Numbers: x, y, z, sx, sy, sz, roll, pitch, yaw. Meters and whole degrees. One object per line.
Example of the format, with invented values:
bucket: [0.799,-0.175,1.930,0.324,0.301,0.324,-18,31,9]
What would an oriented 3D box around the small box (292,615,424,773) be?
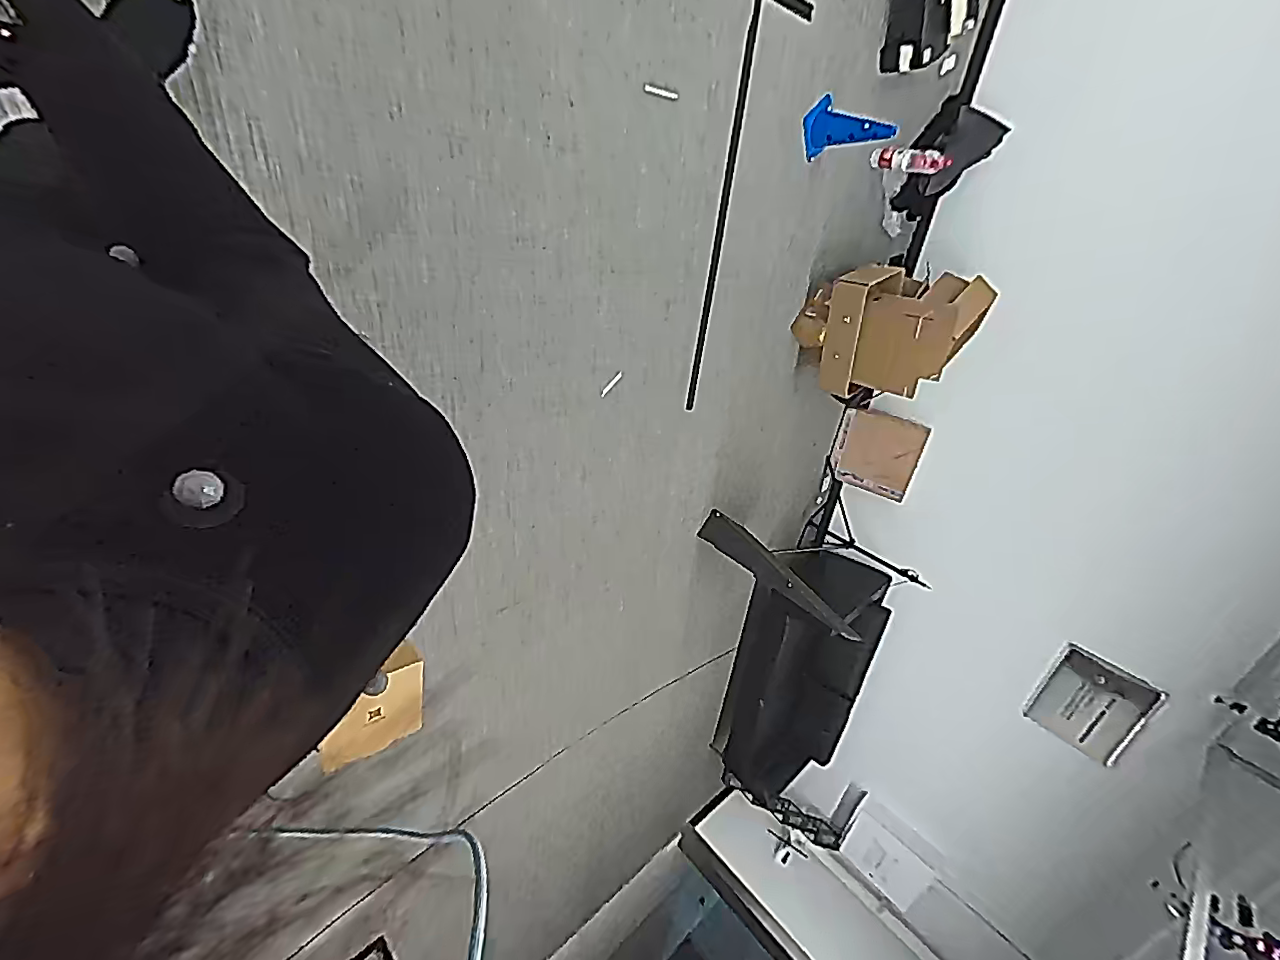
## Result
small box: [-0.504,0.367,0.967,0.168,0.176,0.179,-13,125,-43]
